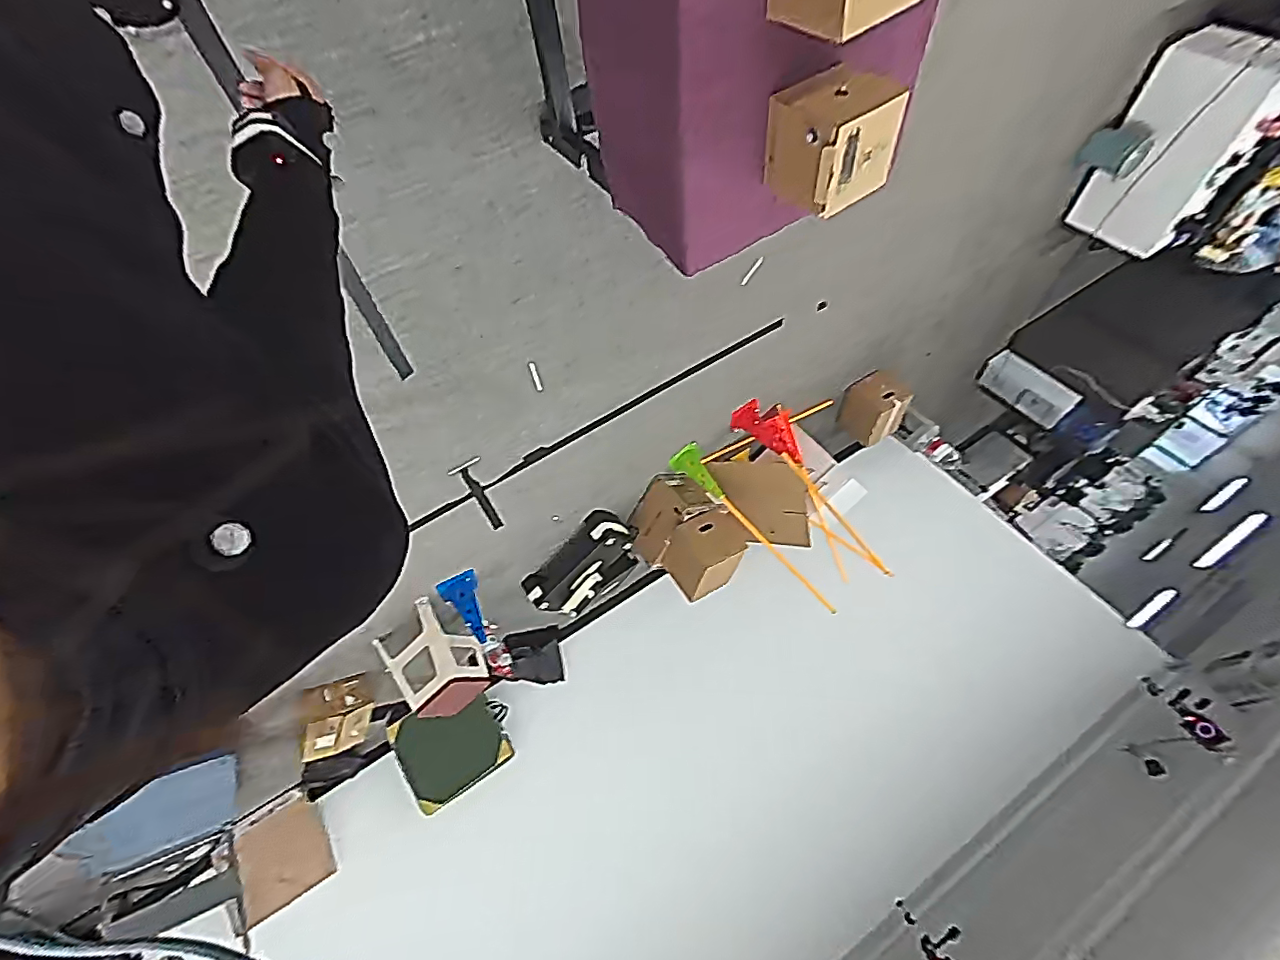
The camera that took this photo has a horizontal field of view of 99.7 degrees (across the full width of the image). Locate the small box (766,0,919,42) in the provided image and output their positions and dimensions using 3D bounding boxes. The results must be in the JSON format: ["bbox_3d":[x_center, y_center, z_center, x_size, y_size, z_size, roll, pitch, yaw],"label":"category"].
[{"bbox_3d":[0.303,-0.785,0.785,0.179,0.176,0.168,-34,150,-10],"label":"small box"}]
